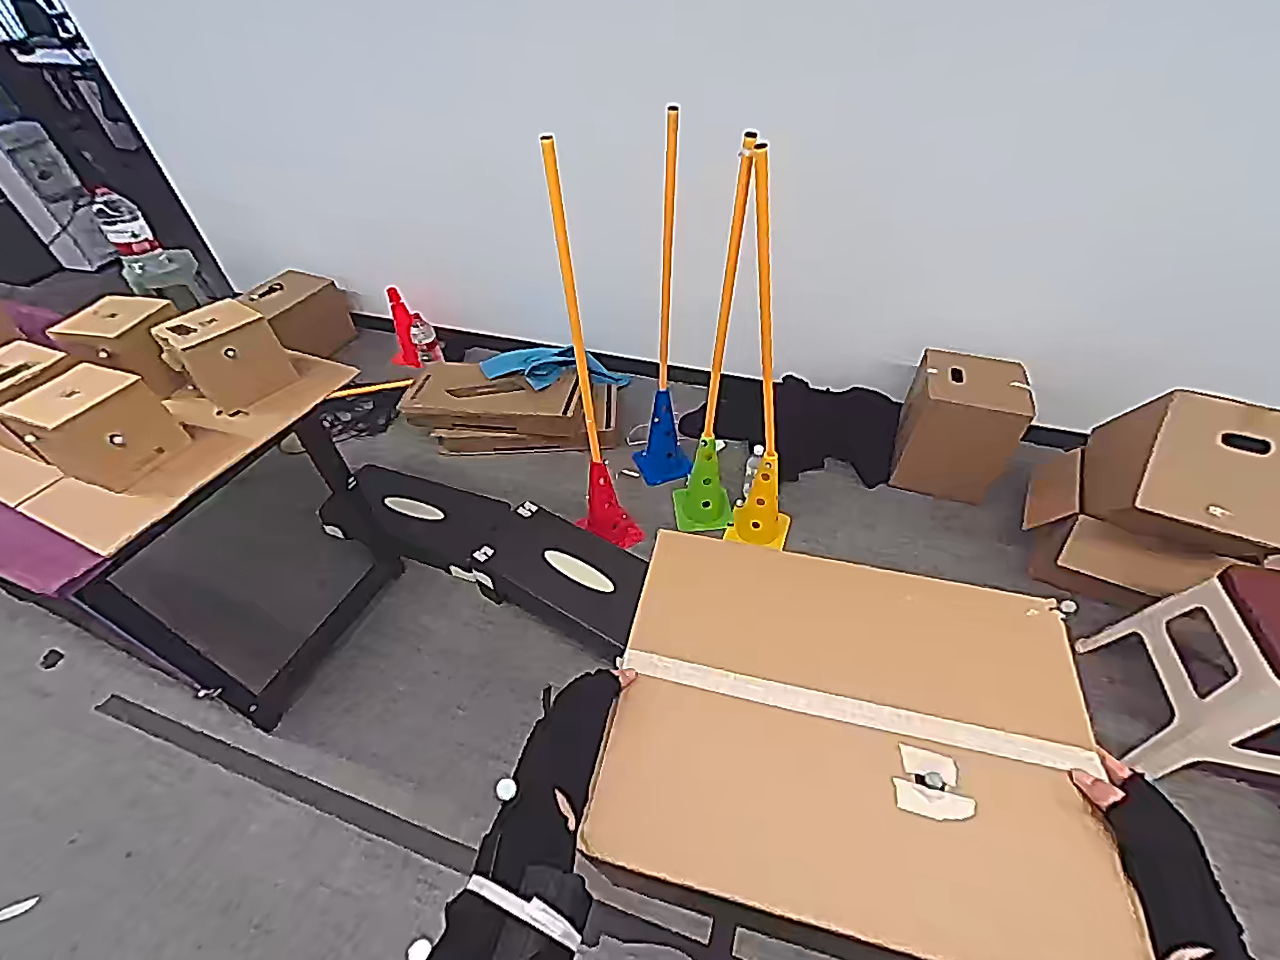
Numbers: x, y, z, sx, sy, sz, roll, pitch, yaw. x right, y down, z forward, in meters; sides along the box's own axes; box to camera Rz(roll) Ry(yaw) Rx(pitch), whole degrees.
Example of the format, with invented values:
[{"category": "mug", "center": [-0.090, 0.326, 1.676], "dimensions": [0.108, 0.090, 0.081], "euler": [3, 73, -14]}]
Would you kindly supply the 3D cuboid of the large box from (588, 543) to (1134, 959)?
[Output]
[{"category": "large box", "center": [0.187, 0.310, 0.604], "dimensions": [0.408, 0.320, 0.320], "euler": [10, 52, 11]}]
